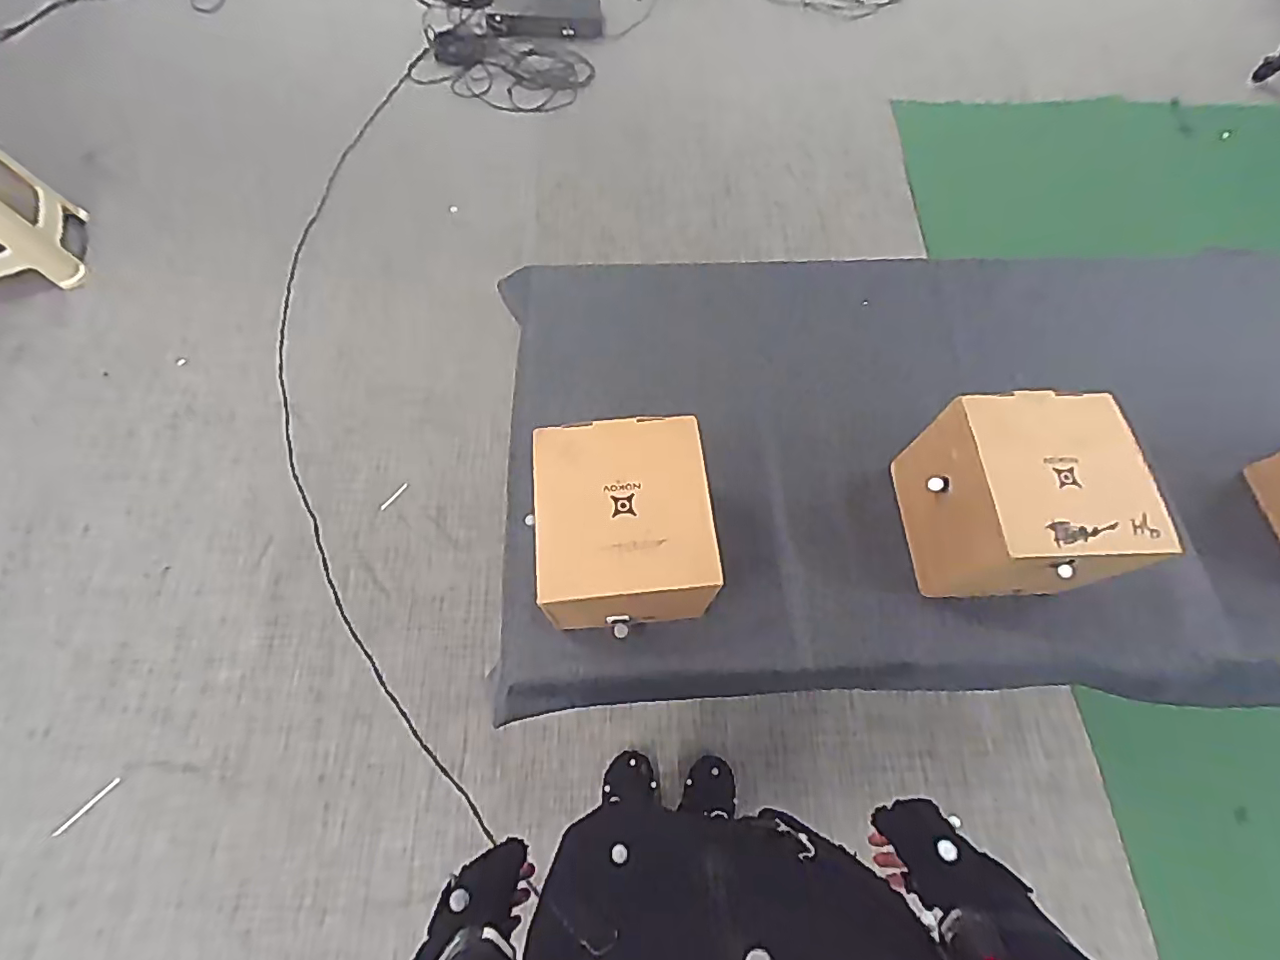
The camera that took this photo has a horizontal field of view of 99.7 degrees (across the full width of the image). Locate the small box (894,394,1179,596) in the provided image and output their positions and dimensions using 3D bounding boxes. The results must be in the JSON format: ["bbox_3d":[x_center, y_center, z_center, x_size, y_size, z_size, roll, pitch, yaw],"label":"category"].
[{"bbox_3d":[0.409,0.023,0.600,0.168,0.176,0.179,-1,65,-2],"label":"small box"}]

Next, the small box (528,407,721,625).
[{"bbox_3d":[-0.017,0.044,0.560,0.168,0.176,0.179,-4,66,-1],"label":"small box"}]

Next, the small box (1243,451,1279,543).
[{"bbox_3d":[0.870,0.027,0.605,0.168,0.176,0.179,-1,65,-1],"label":"small box"}]
